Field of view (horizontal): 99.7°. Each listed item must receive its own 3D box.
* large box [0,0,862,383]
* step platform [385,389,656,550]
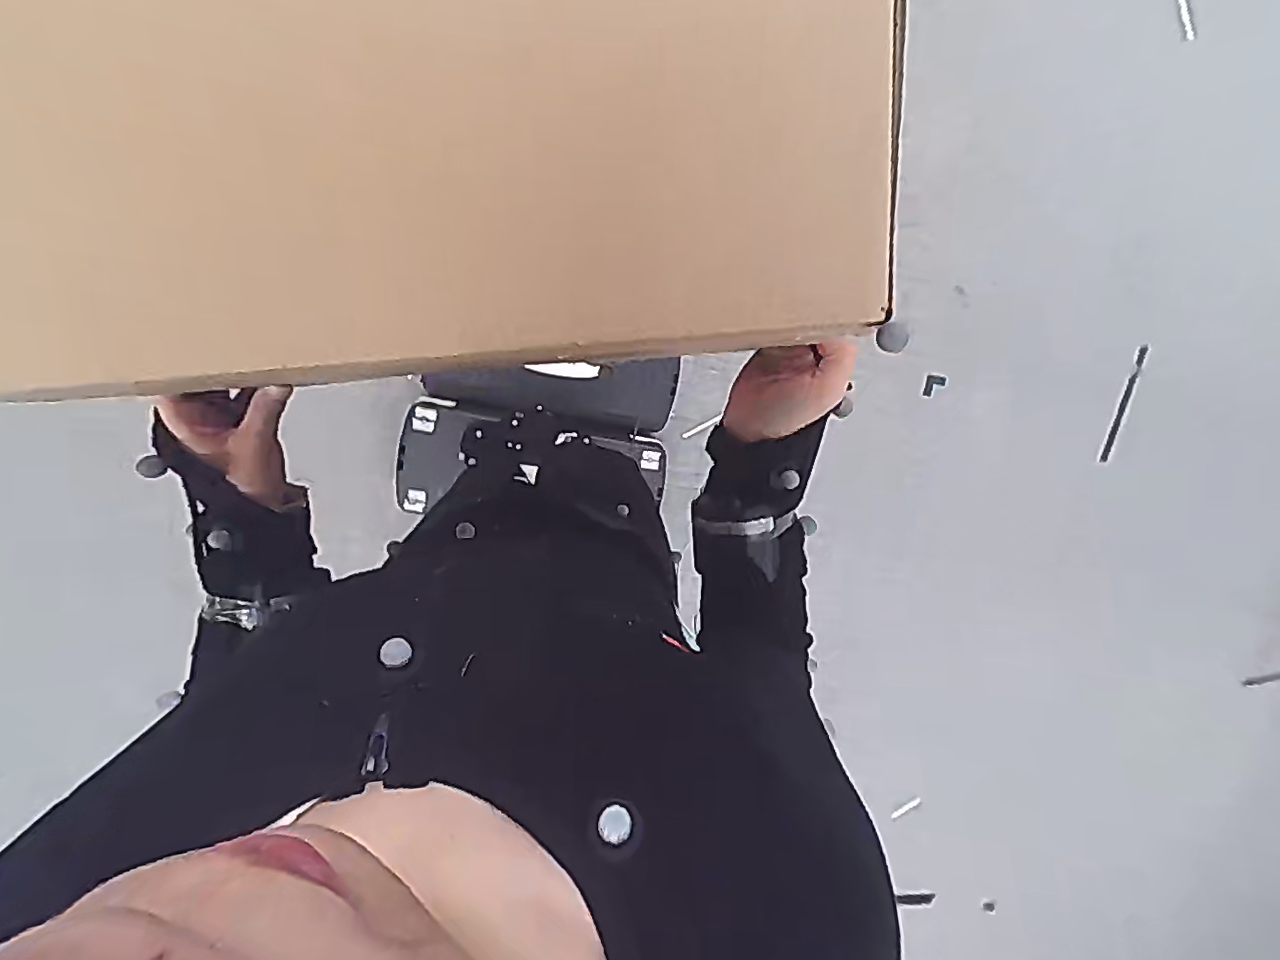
[{"bbox_3d":[-0.116,-0.237,0.336,0.408,0.320,0.320,-4,103,4],"label":"large box"},{"bbox_3d":[-0.303,-0.024,1.447,0.684,0.204,0.286,14,99,-11],"label":"step platform"}]
